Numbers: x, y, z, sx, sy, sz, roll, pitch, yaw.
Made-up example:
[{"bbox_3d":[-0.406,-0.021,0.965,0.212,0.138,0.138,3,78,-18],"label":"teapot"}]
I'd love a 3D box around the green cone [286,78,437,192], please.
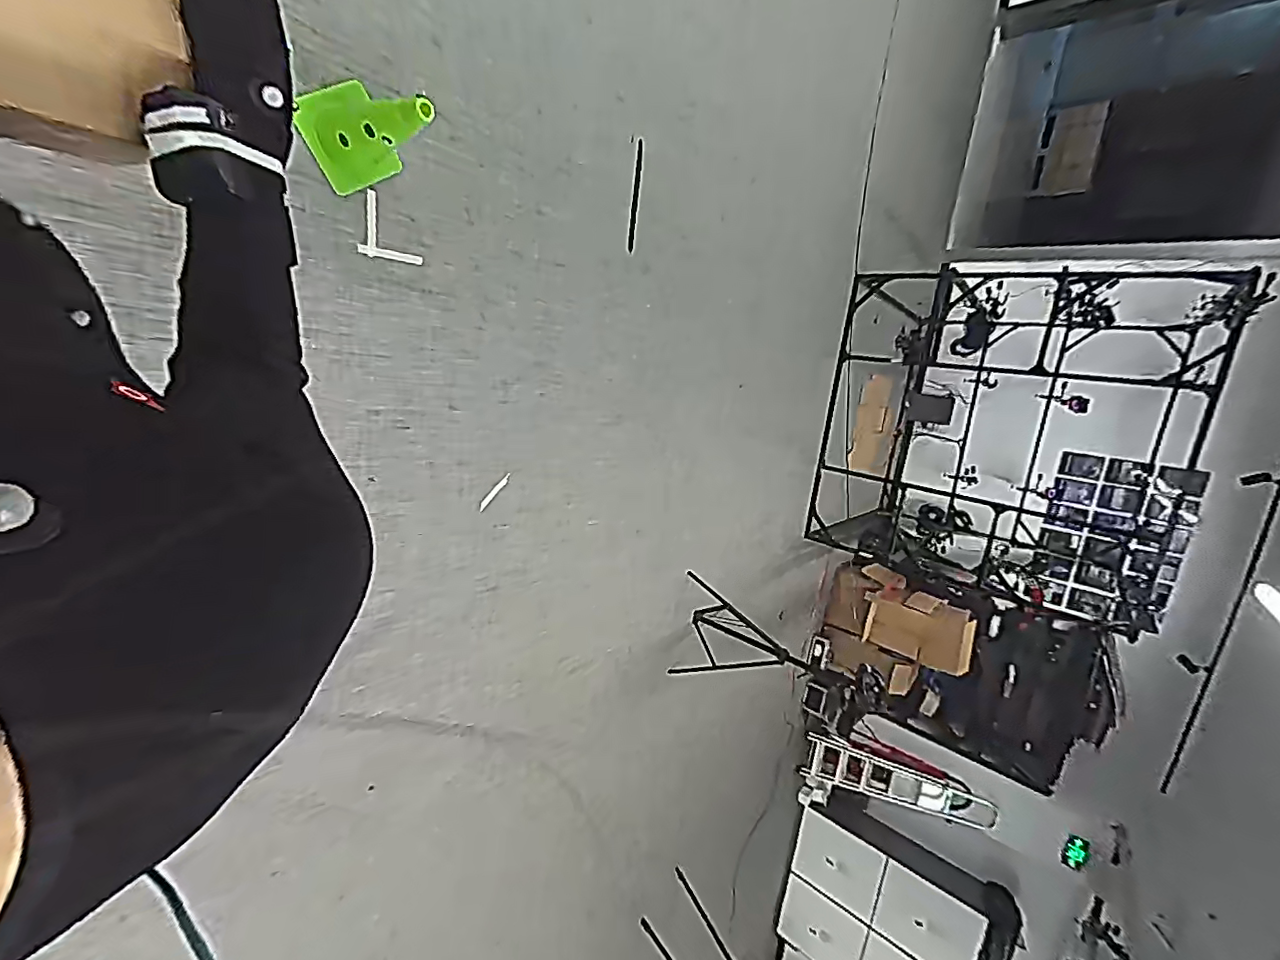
[{"bbox_3d":[-0.566,-0.781,1.187,0.202,0.368,0.200,-50,138,-31],"label":"green cone"}]

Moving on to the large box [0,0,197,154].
[{"bbox_3d":[-0.548,-0.424,0.301,0.408,0.320,0.320,-8,116,-52],"label":"large box"}]
